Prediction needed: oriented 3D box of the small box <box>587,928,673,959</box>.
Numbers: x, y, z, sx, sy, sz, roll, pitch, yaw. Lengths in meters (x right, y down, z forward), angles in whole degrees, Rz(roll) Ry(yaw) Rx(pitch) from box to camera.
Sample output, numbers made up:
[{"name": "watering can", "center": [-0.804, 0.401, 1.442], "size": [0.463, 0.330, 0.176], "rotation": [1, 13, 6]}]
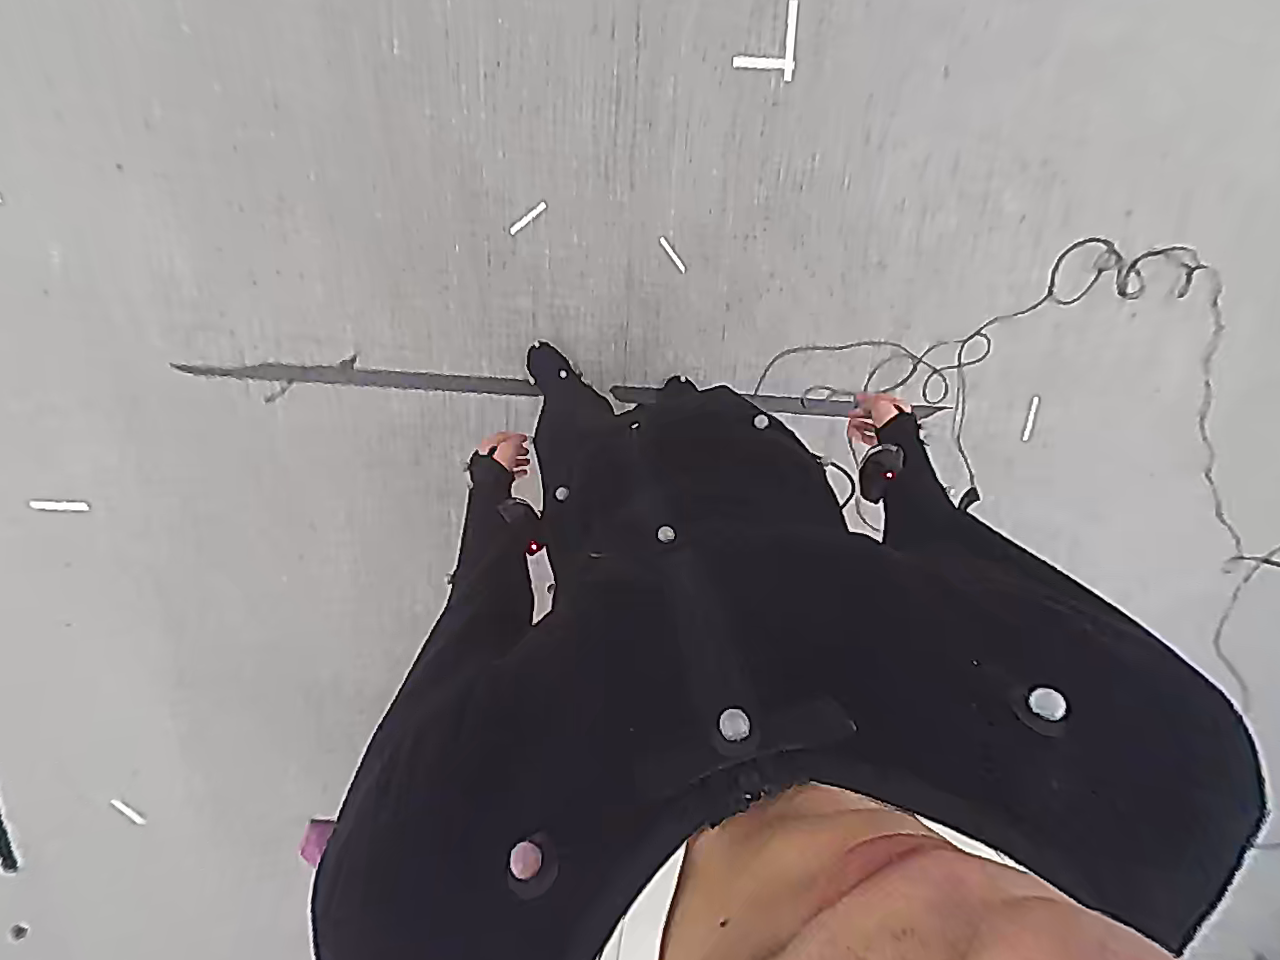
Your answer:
[{"name": "small box", "center": [-0.022, 1.045, 1.084], "size": [0.179, 0.176, 0.168], "rotation": [0, 107, -3]}]
